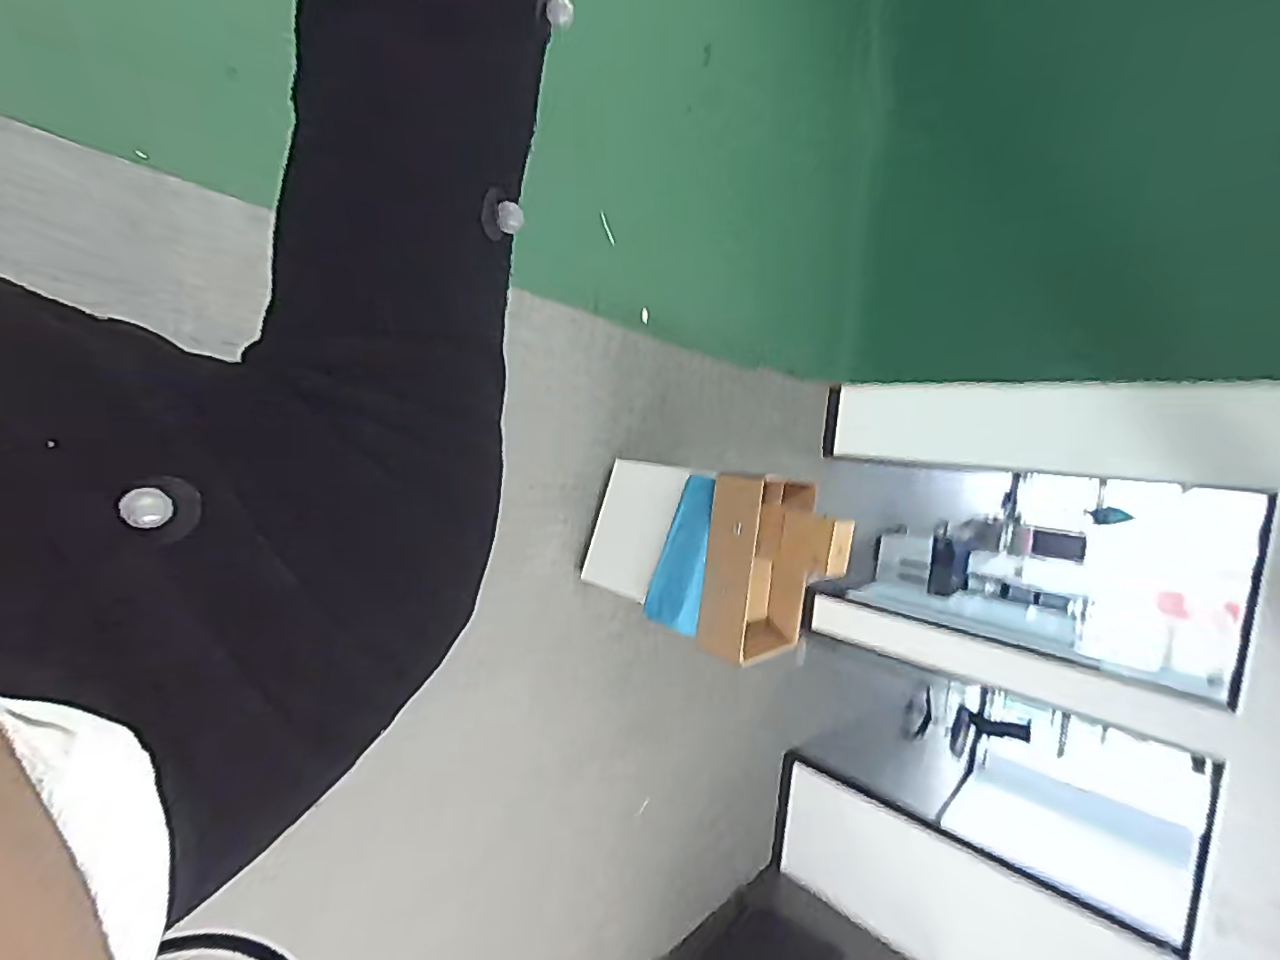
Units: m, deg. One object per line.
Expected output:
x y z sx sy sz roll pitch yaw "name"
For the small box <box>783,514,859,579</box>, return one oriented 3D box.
0.580 0.207 1.740 0.168 0.176 0.179 4 97 -48 "small box"
